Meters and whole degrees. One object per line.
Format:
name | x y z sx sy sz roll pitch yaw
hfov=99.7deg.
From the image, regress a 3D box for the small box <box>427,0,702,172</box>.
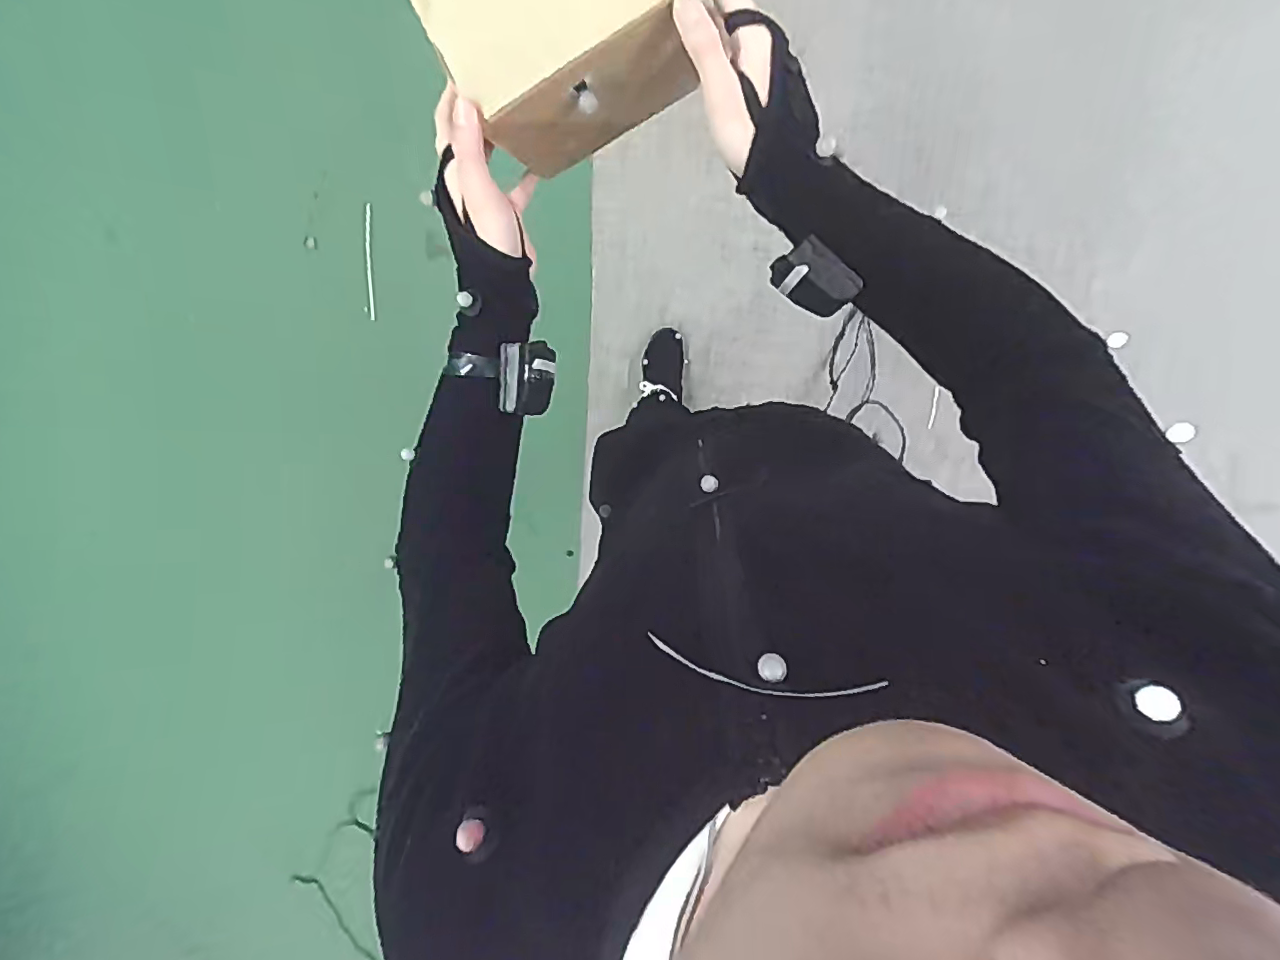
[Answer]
small box | -0.059 -0.387 0.436 0.179 0.176 0.168 -22 101 15
